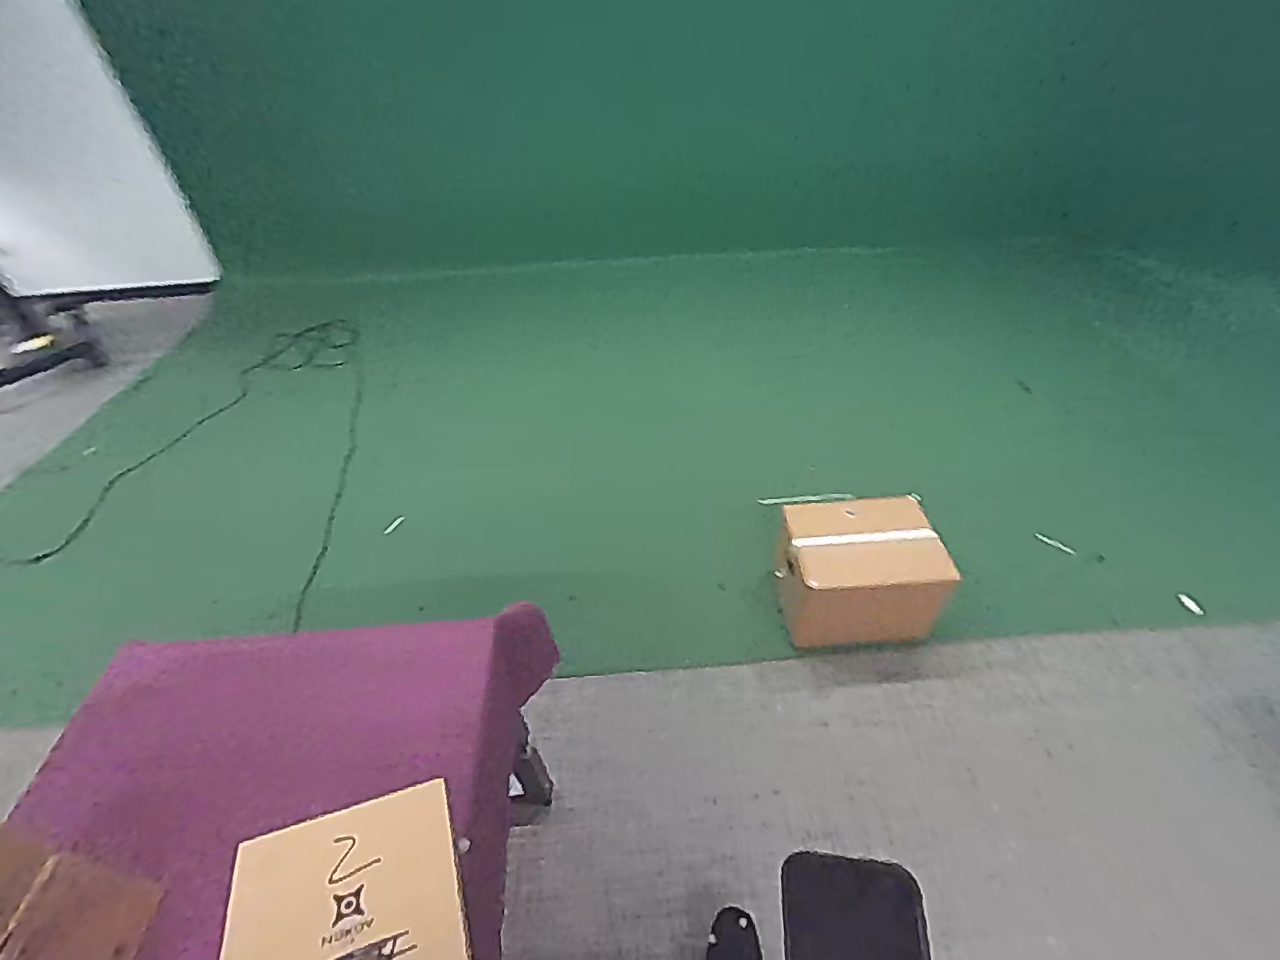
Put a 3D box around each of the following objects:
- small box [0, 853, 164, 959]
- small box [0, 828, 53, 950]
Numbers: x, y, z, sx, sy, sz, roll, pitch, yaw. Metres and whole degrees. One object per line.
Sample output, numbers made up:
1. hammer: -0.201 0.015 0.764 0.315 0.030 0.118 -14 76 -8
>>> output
1. small box: -0.643 0.493 0.529 0.179 0.176 0.168 -6 43 -3
2. small box: -0.658 0.368 0.422 0.179 0.176 0.168 -4 43 -1
